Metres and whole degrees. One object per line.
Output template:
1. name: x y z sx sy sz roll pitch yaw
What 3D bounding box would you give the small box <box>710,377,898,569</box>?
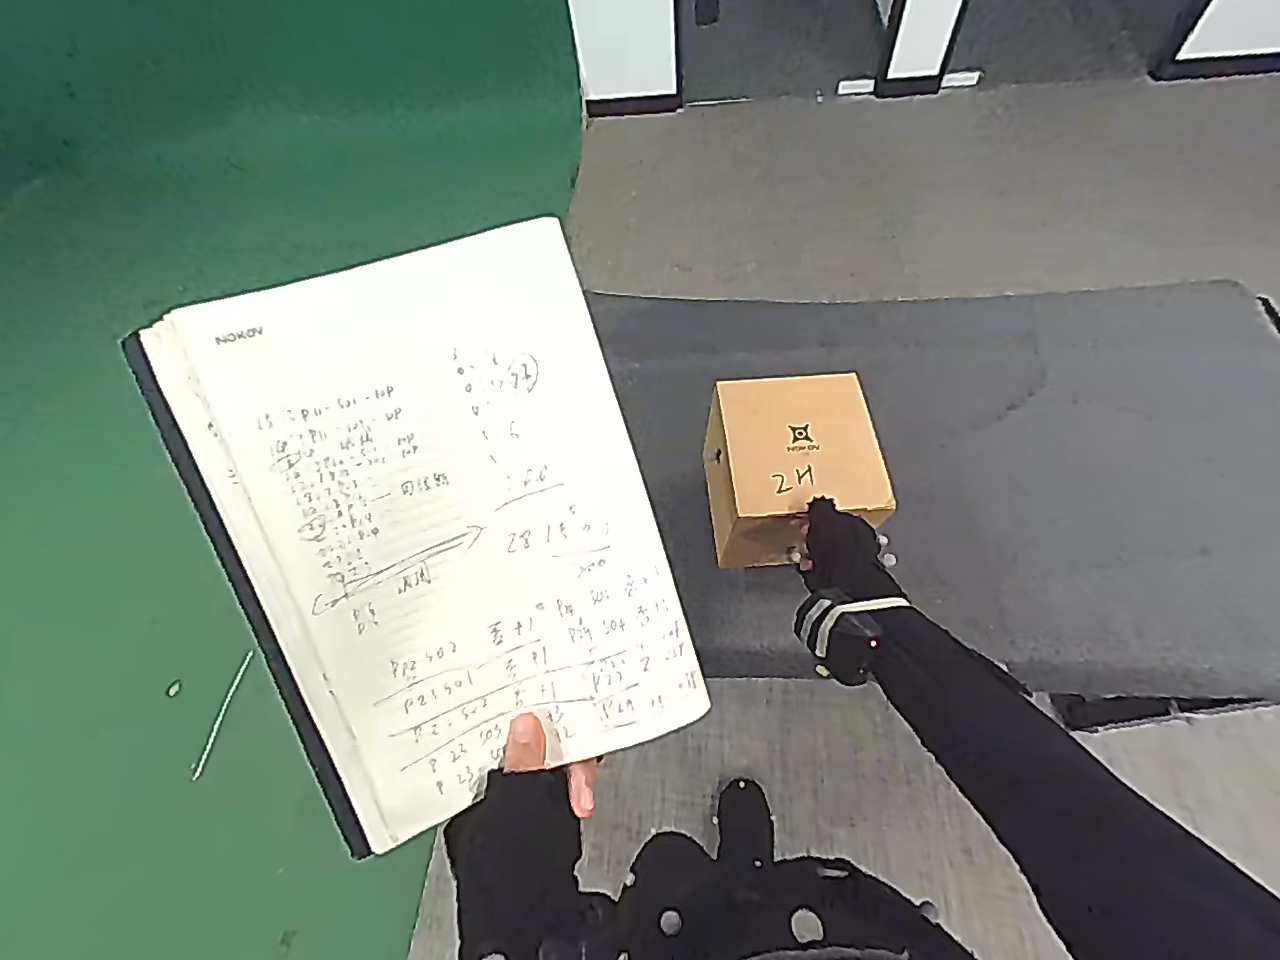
1. small box: 0.182 -0.003 0.665 0.168 0.176 0.179 -4 62 0
